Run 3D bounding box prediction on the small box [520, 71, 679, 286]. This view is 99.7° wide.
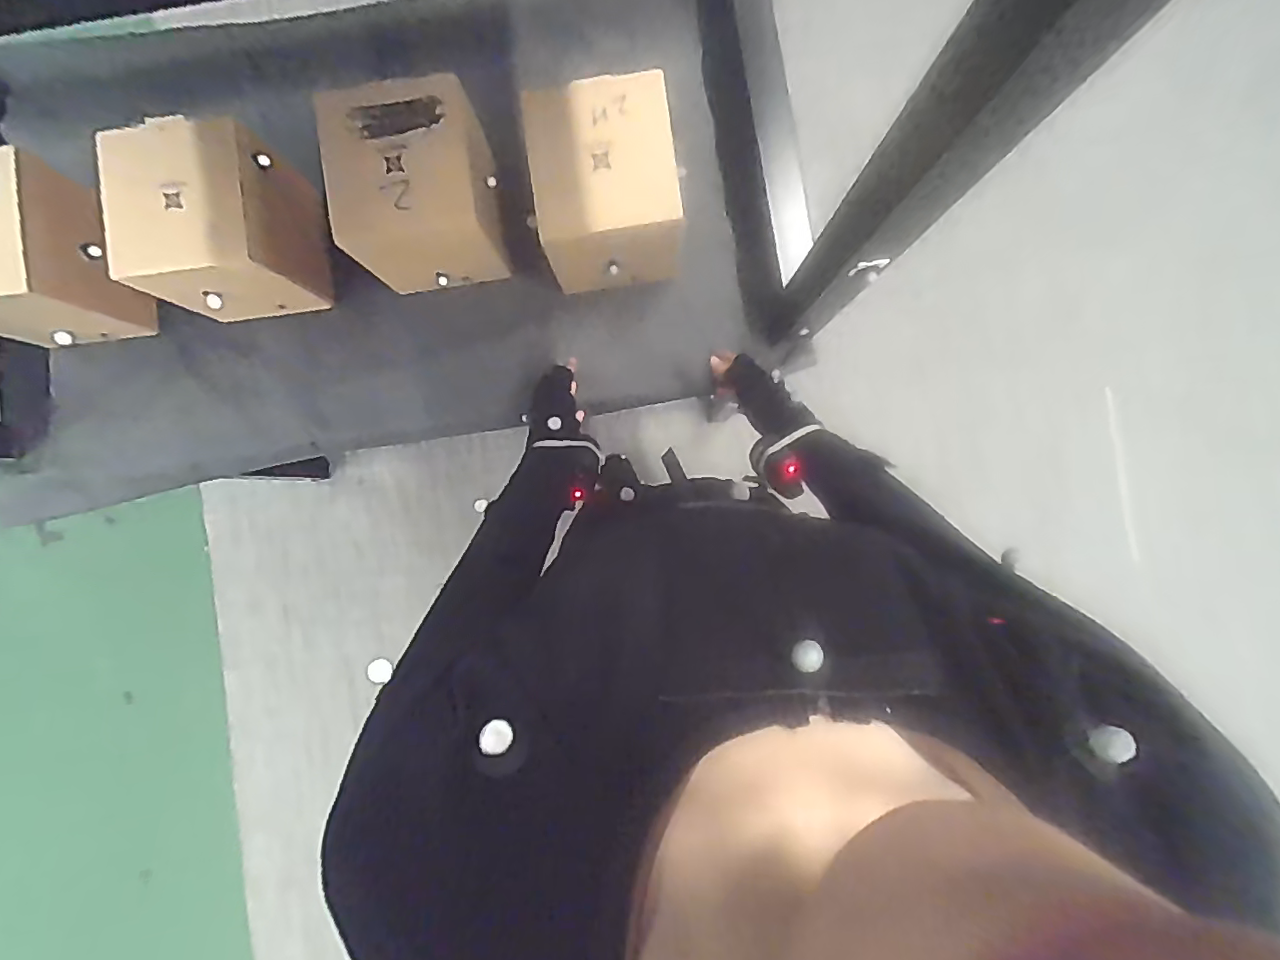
[{"bbox_3d":[-0.042,-0.363,0.689,0.168,0.176,0.179,-8,88,1],"label":"small box"}]

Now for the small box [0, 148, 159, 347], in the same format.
[{"bbox_3d":[-0.782,-0.287,0.703,0.168,0.176,0.179,-7,89,1],"label":"small box"}]

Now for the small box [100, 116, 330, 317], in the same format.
[{"bbox_3d":[-0.531,-0.322,0.701,0.168,0.176,0.179,-7,88,1],"label":"small box"}]
